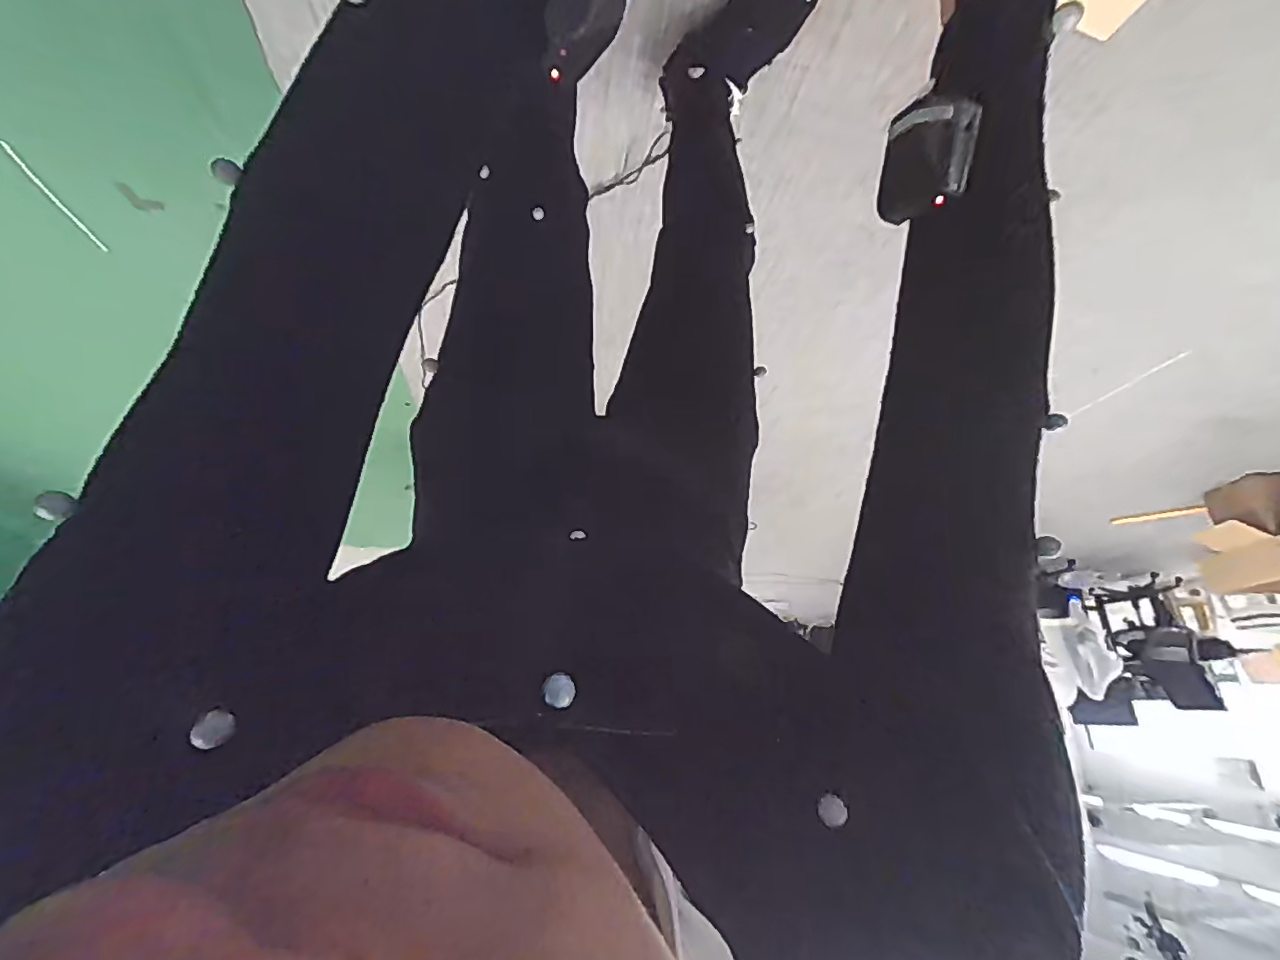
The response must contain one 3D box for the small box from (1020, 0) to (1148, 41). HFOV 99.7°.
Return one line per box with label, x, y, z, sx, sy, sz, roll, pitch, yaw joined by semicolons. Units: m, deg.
small box;0.483;-0.620;0.559;0.179;0.176;0.168;8;158;-15
